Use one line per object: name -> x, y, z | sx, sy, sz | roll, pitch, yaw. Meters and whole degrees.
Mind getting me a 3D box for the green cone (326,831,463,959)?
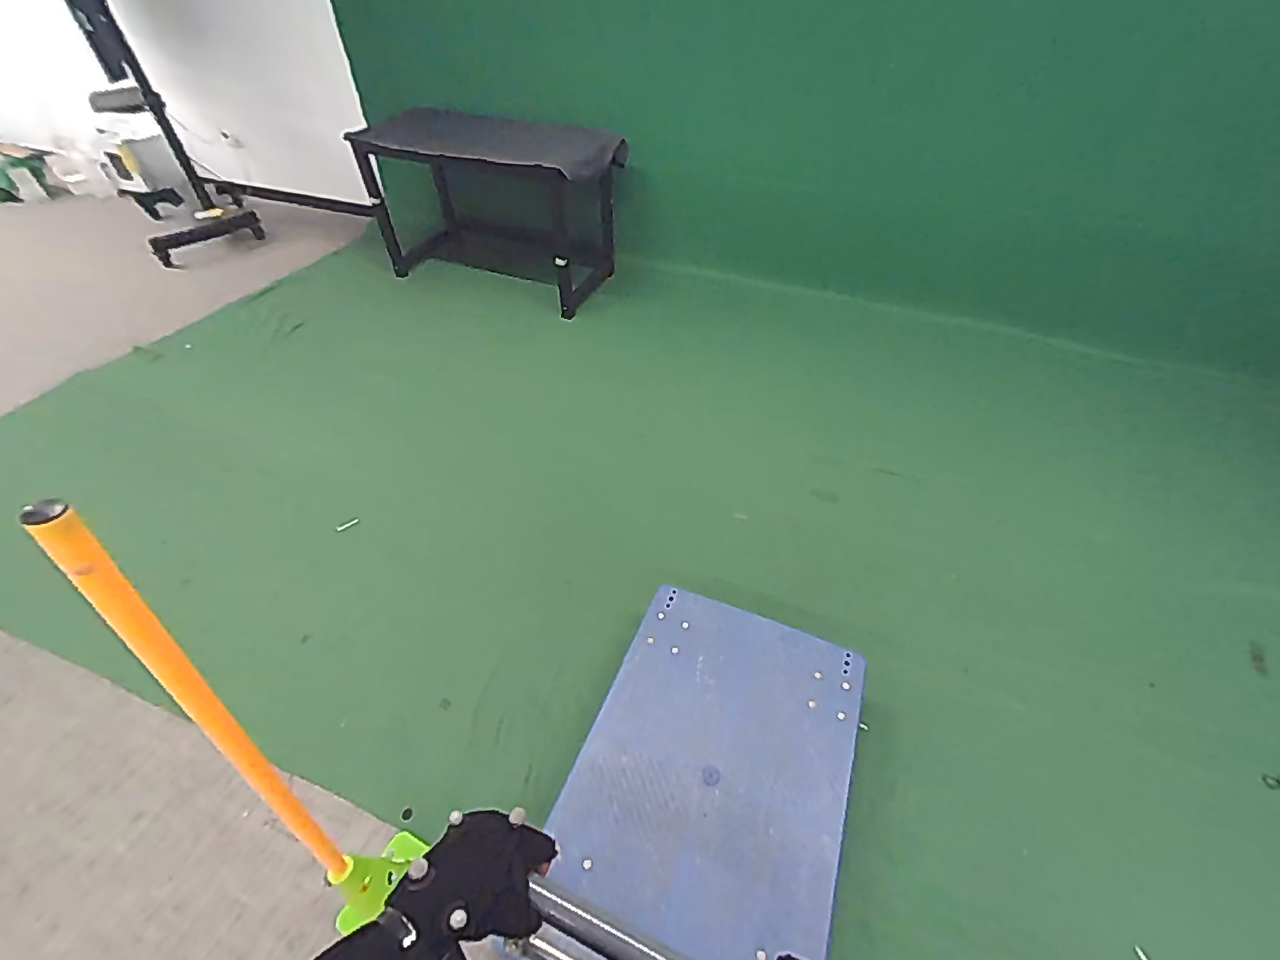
green cone -> -0.515, 0.785, 1.055 | 0.202, 0.368, 0.200 | 19, 47, 18
